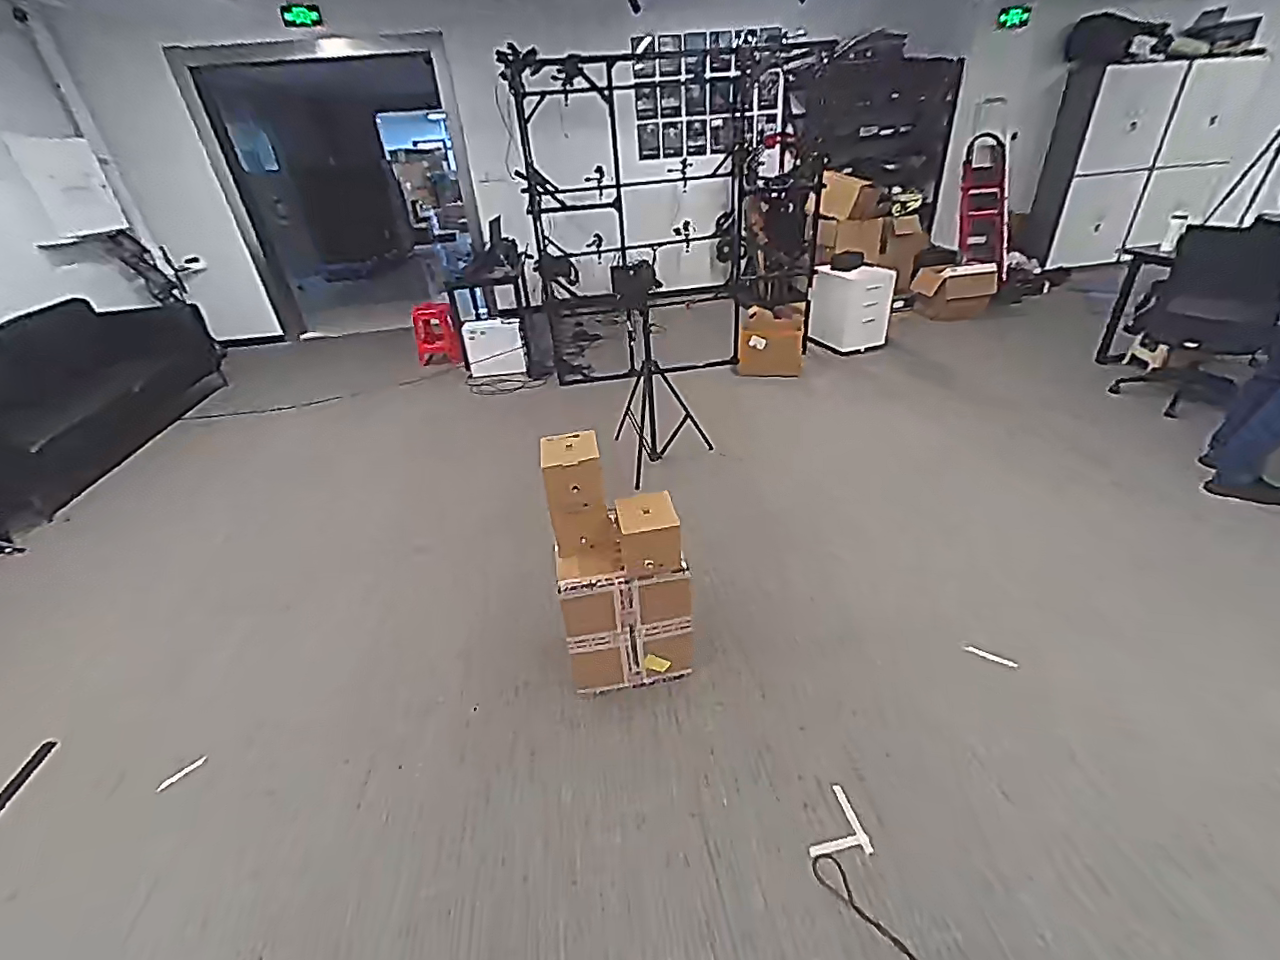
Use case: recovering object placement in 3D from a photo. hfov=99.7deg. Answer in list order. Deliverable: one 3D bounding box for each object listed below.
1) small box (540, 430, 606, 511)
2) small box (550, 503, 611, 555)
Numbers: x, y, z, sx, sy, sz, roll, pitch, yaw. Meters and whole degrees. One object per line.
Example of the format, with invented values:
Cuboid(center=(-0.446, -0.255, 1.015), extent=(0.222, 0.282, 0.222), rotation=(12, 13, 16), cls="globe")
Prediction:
Cuboid(center=(-0.198, -0.023, 1.602), extent=(0.168, 0.176, 0.179), rotation=(-10, 34, -5), cls="small box")
Cuboid(center=(-0.189, 0.109, 1.700), extent=(0.168, 0.176, 0.179), rotation=(-11, 34, -6), cls="small box")
